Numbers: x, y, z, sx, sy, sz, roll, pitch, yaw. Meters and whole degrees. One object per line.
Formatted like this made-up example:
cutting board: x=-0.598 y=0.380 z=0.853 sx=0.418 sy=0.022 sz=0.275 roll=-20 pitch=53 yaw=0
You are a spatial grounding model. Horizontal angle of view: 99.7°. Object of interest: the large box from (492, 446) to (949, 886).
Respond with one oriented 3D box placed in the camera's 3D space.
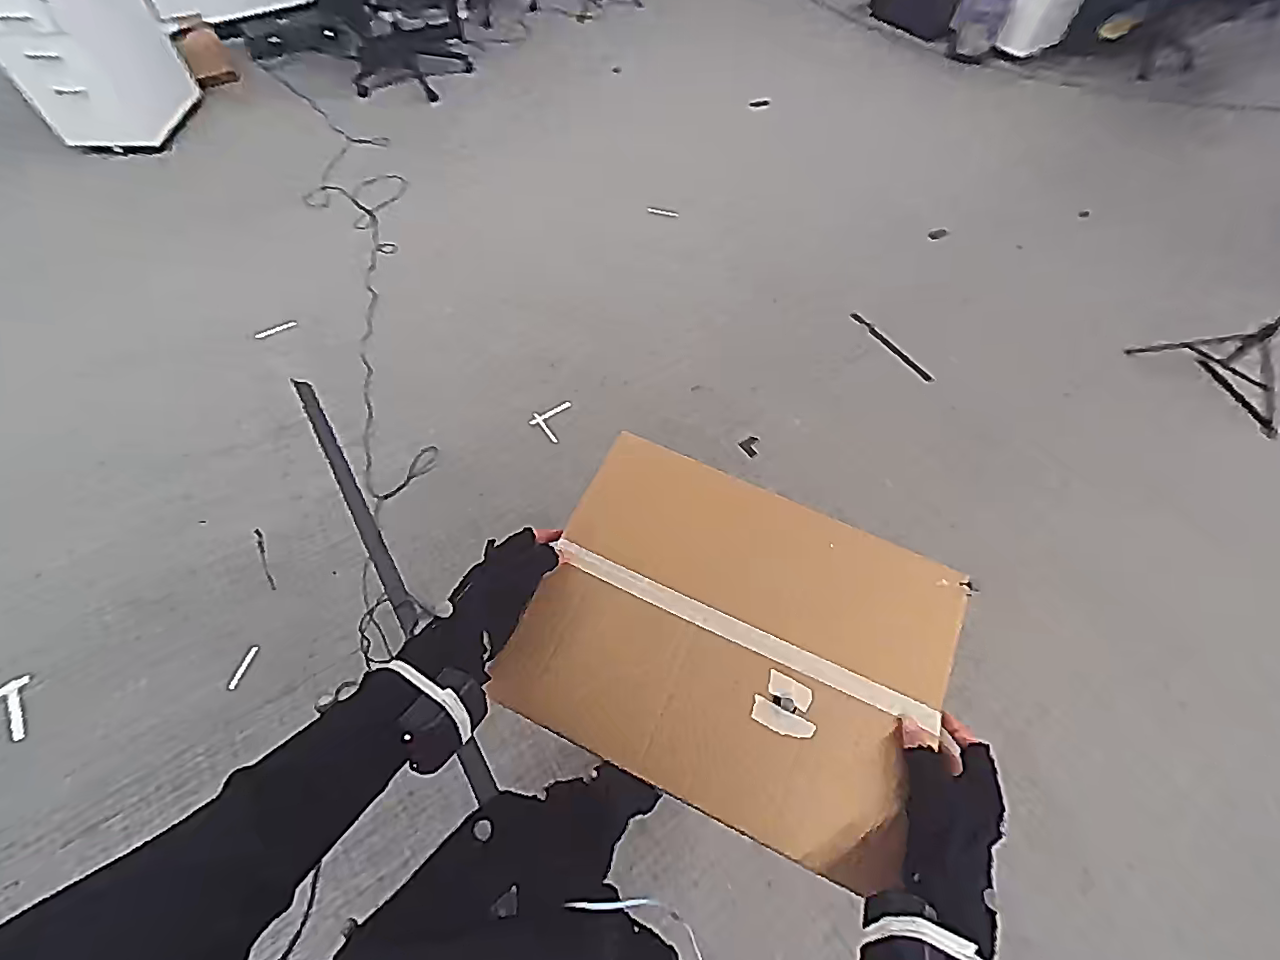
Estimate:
large box: x=0.089 y=0.217 z=0.691 sx=0.408 sy=0.320 sz=0.320 roll=23 pitch=68 yaw=9
